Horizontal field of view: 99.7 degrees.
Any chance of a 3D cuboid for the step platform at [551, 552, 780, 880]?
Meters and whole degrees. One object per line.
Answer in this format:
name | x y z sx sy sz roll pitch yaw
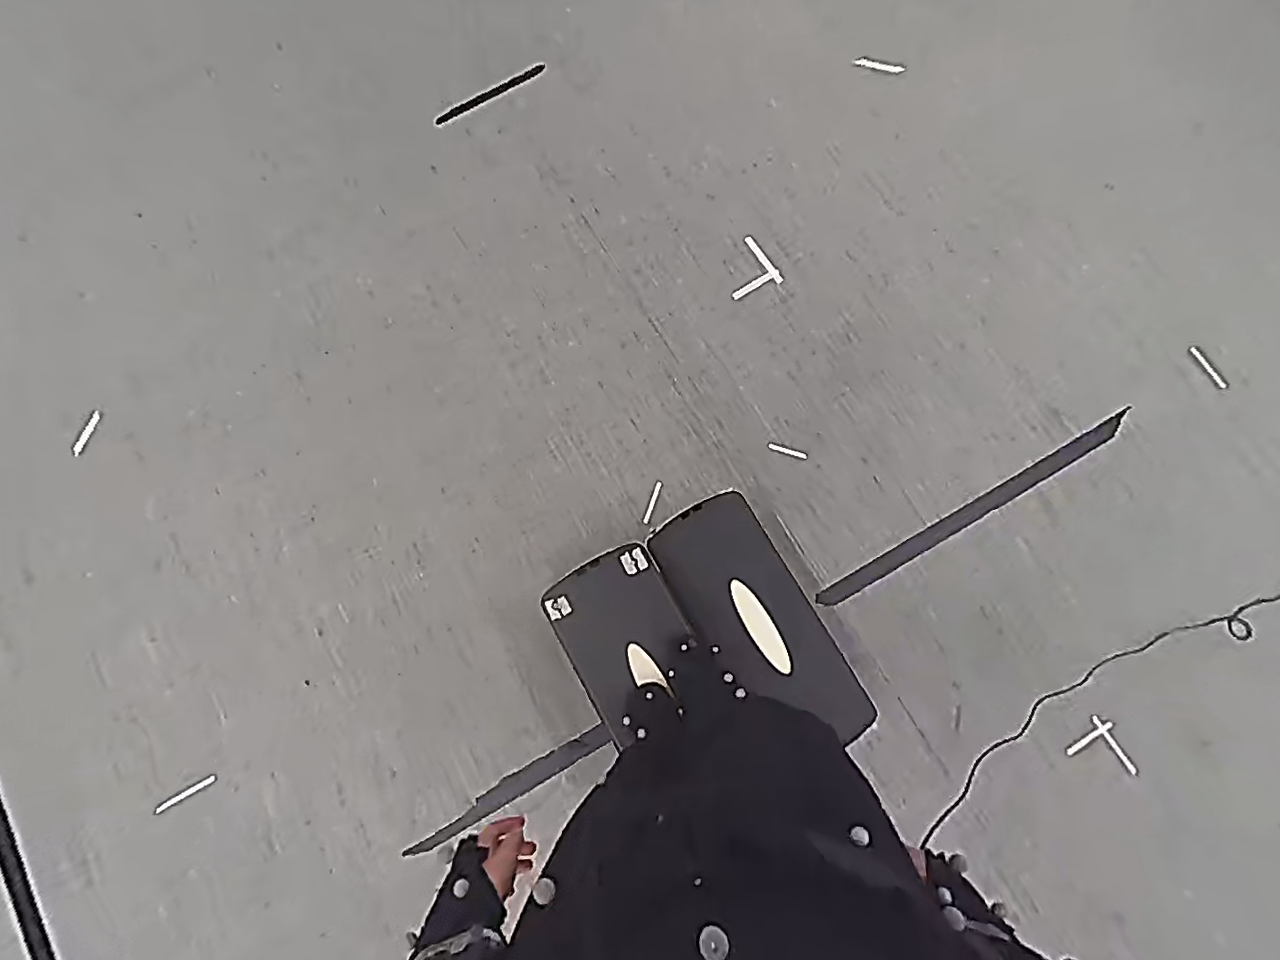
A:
step platform | 0.046 0.517 1.267 0.286 0.204 0.684 -26 77 -5
